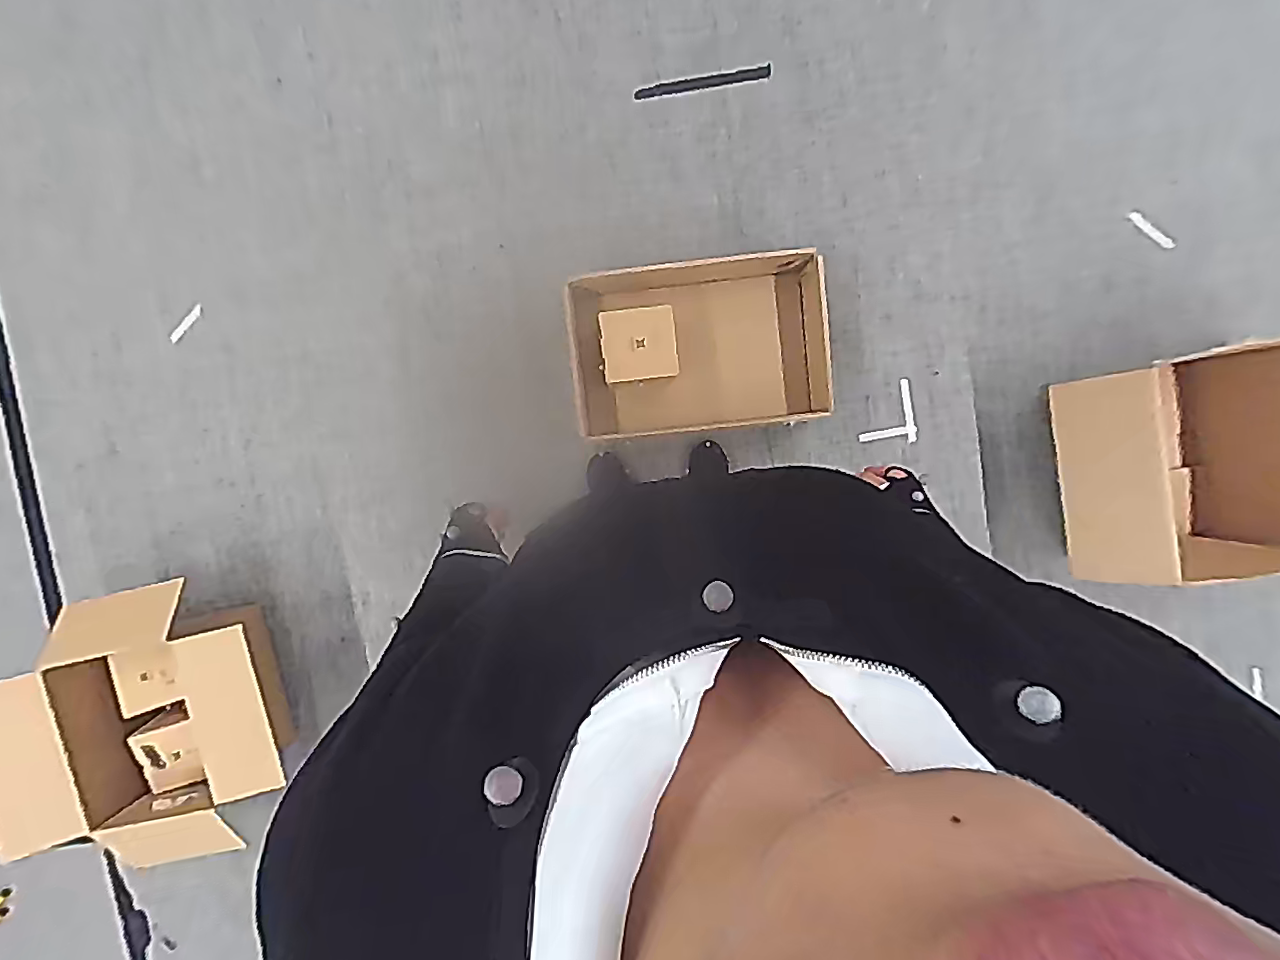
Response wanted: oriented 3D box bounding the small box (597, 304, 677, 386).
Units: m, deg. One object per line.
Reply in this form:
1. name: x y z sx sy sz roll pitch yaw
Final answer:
1. small box: -0.008 -0.328 1.343 0.179 0.176 0.168 -7 96 -1
